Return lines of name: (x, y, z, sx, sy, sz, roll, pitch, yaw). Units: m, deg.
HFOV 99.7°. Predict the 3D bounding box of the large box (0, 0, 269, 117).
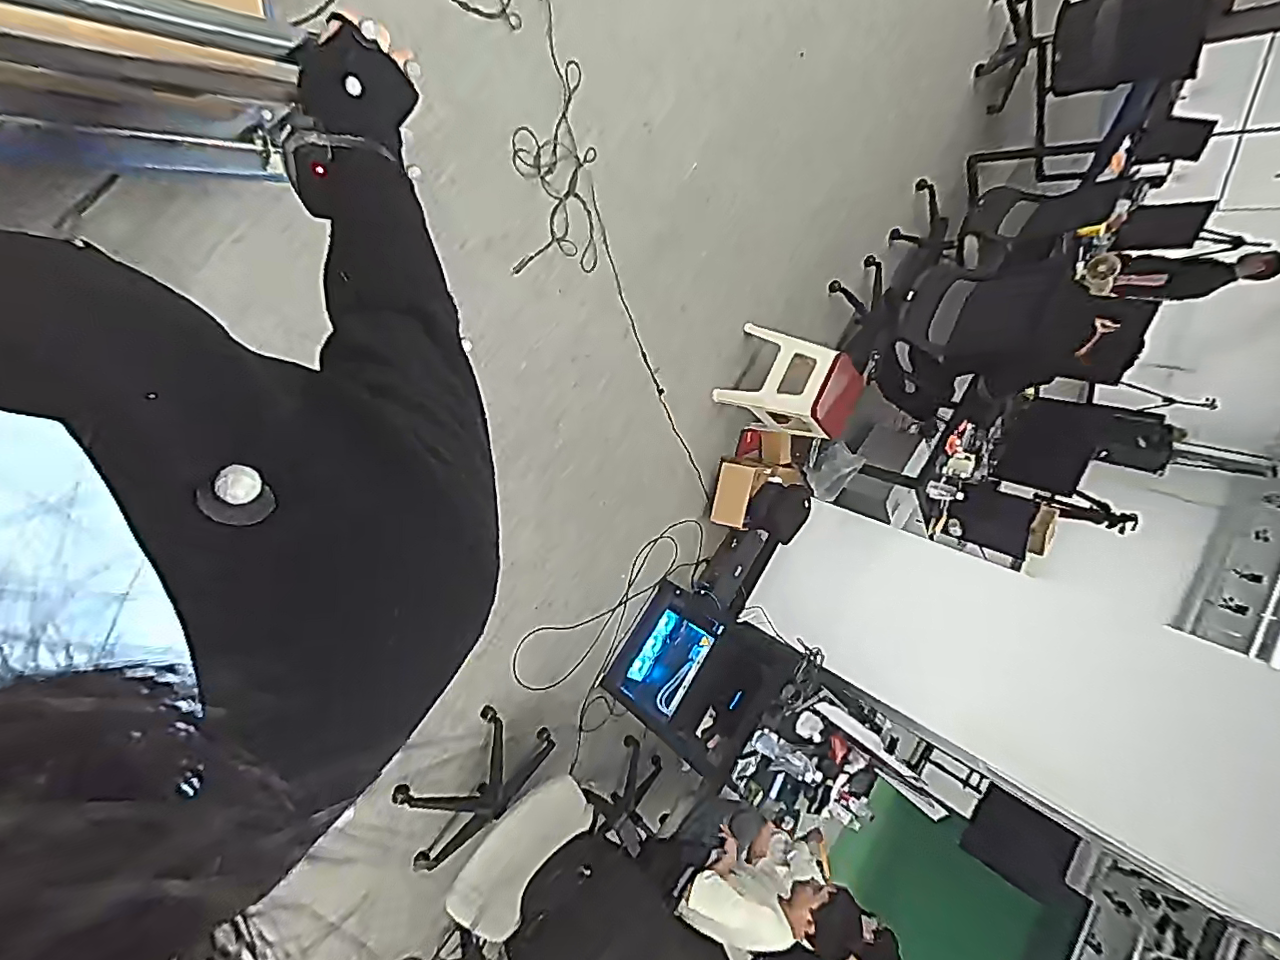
large box: (-0.771, -0.689, 0.680, 0.408, 0.320, 0.320, -19, 122, -41)
